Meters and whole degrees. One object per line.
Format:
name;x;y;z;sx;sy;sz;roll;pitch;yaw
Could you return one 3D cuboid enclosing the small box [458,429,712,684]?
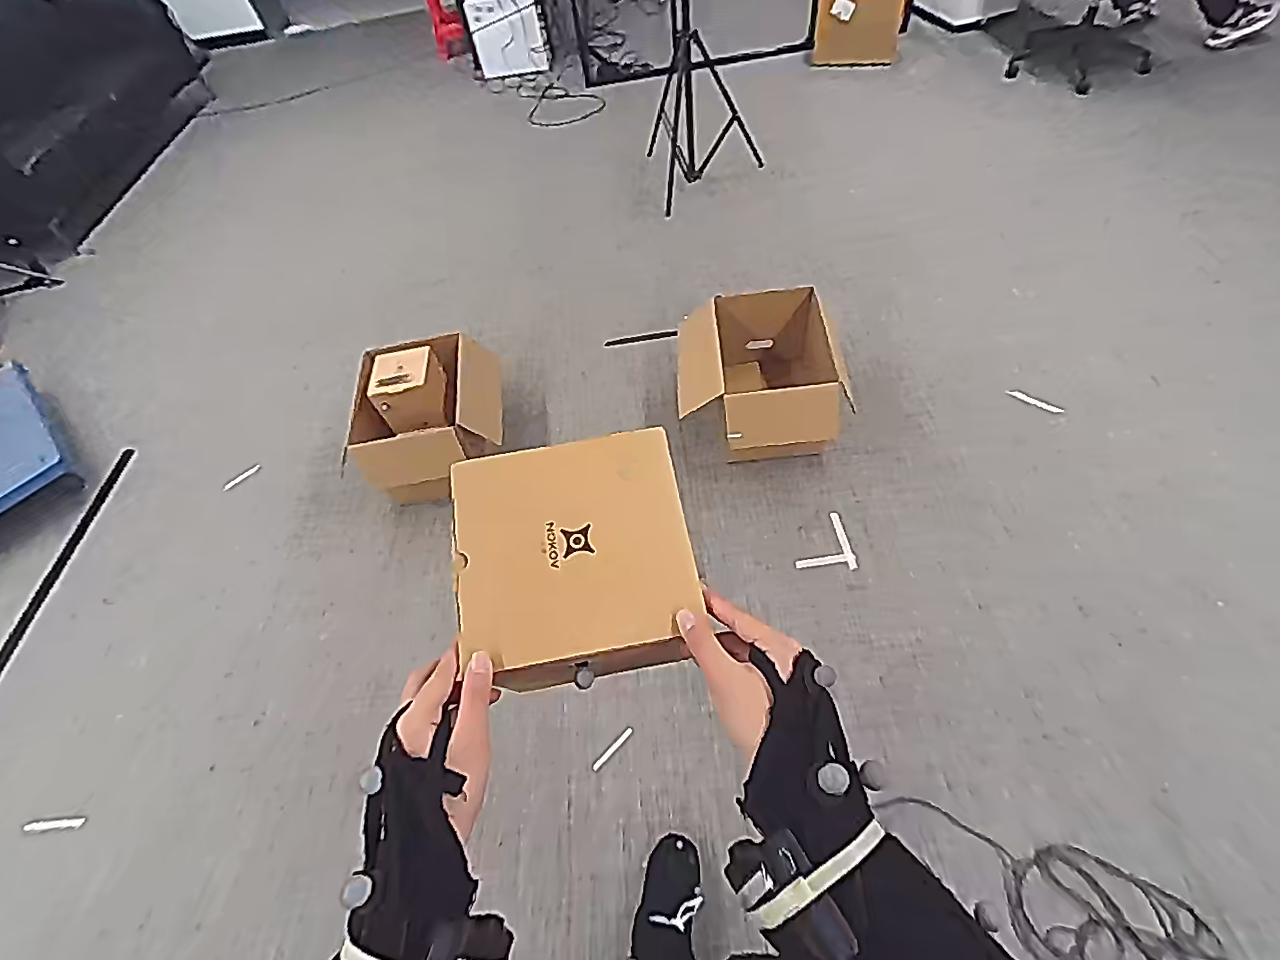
small box;-0.046;0.077;0.480;0.179;0.176;0.168;-11;66;-3
